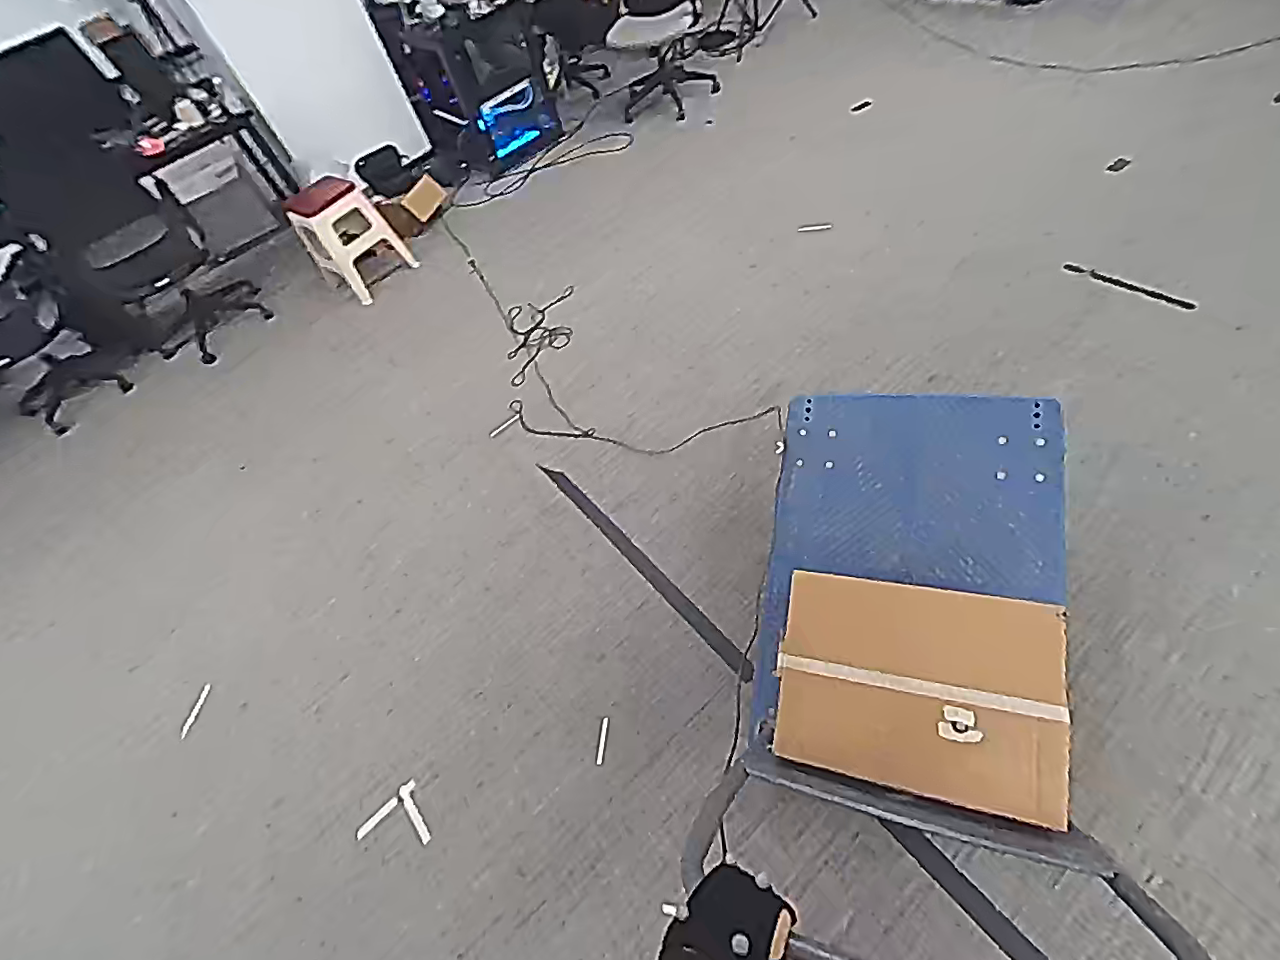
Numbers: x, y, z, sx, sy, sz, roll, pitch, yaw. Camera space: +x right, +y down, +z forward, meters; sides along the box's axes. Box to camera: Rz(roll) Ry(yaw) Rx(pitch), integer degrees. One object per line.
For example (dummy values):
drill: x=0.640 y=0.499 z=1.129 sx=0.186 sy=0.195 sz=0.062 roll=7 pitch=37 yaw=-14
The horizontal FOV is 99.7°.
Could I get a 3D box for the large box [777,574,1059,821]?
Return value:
large box: x=0.488 y=0.374 z=1.012 sx=0.408 sy=0.320 sz=0.320 roll=5 pitch=76 yaw=22
